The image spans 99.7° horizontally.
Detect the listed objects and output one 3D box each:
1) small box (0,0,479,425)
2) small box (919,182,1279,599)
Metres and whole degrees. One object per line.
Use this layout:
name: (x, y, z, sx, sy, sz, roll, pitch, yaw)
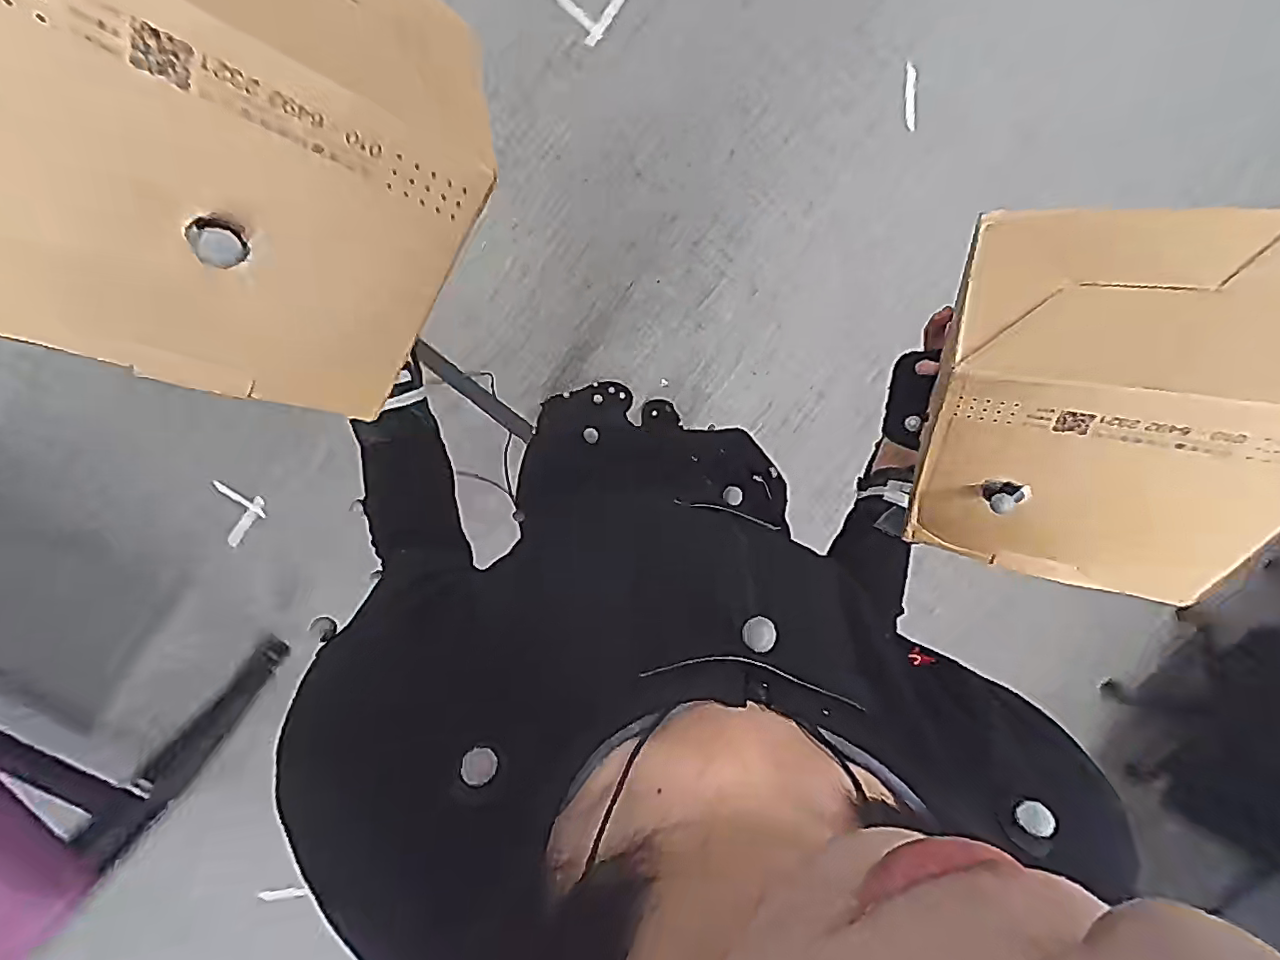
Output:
small box: (-0.188, -0.157, 0.251, 0.168, 0.179, 0.176, 11, 136, -37)
small box: (0.287, -0.059, 0.337, 0.168, 0.176, 0.179, 13, 57, 24)
